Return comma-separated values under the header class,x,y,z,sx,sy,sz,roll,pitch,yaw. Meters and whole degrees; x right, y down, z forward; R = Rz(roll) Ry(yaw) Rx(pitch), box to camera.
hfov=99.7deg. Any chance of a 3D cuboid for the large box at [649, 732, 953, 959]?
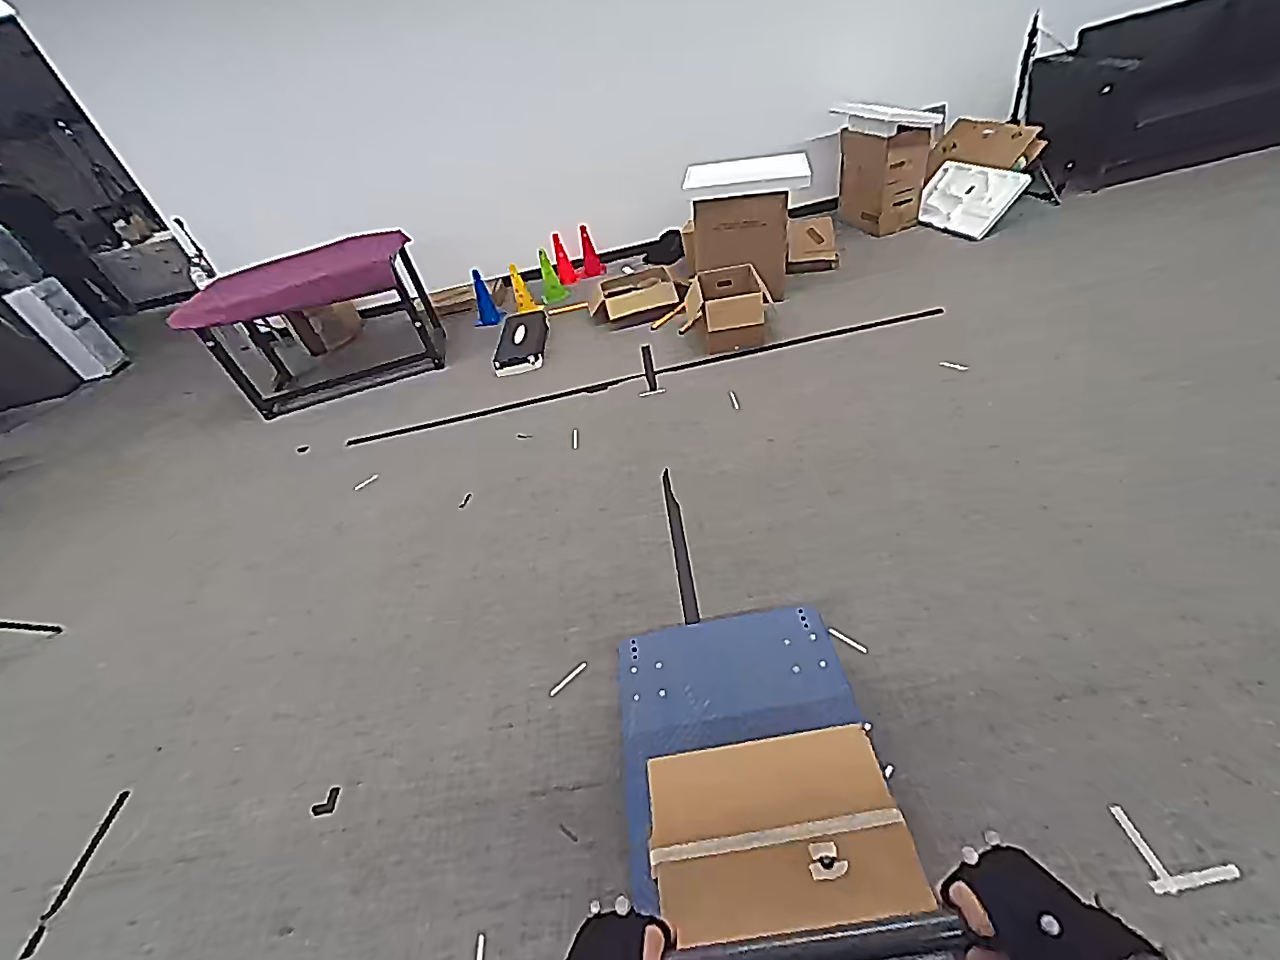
class,x,y,z,sx,sy,sz,roll,pitch,yaw
large box,0.249,0.700,0.953,0.408,0.320,0.320,-11,40,3
